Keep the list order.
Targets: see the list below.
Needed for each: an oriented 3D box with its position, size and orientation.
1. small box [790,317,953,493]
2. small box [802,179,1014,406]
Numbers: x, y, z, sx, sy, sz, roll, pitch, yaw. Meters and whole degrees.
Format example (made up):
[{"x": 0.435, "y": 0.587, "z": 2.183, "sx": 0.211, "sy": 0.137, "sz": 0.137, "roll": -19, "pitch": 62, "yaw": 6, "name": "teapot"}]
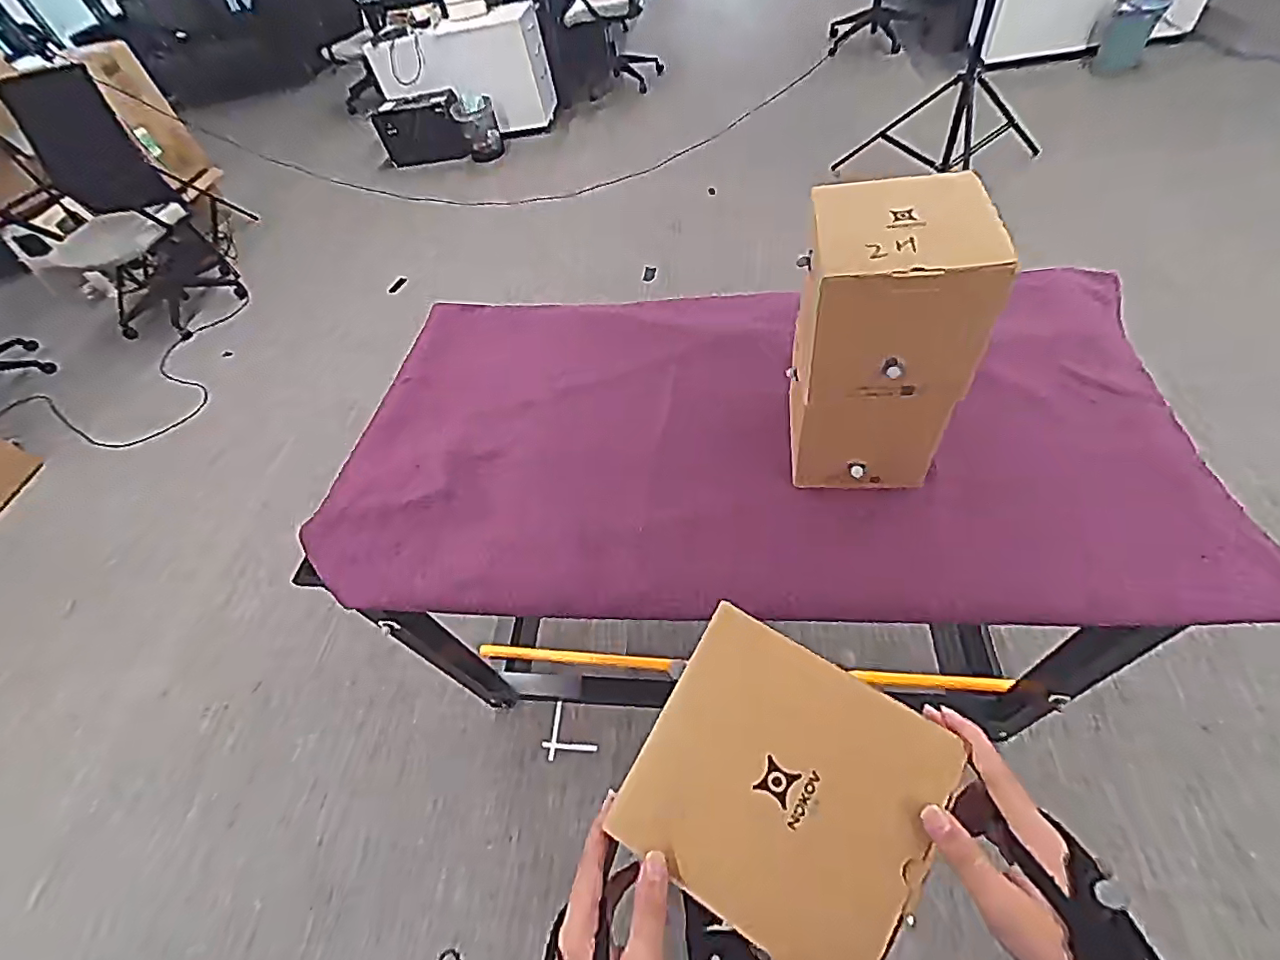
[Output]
[{"x": 0.294, "y": -0.102, "z": 0.731, "sx": 0.168, "sy": 0.176, "sz": 0.179, "roll": 1, "pitch": 53, "yaw": 12, "name": "small box"}, {"x": 0.273, "y": -0.202, "z": 0.600, "sx": 0.168, "sy": 0.176, "sz": 0.179, "roll": 0, "pitch": 53, "yaw": 12, "name": "small box"}]
